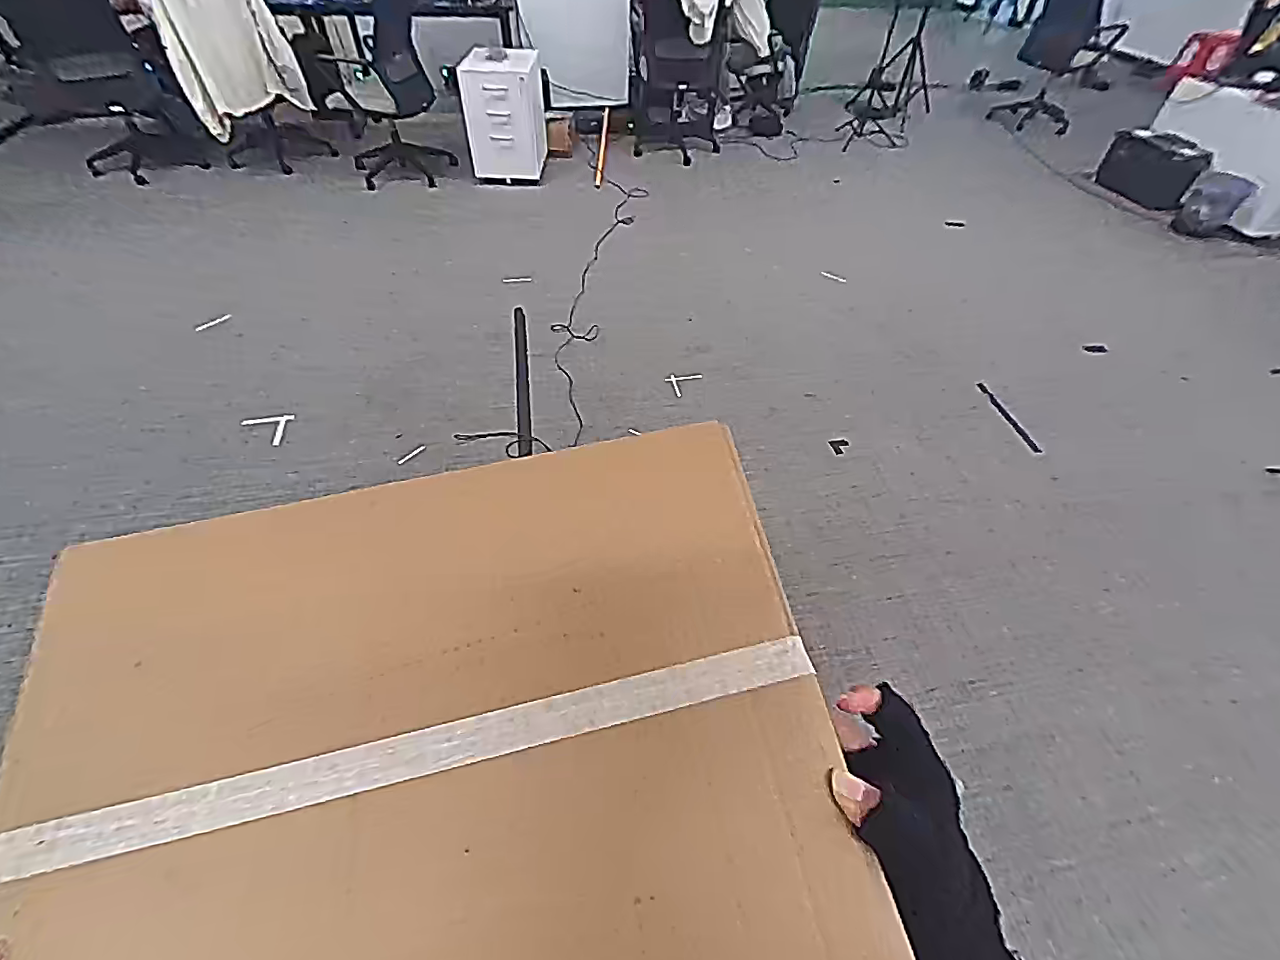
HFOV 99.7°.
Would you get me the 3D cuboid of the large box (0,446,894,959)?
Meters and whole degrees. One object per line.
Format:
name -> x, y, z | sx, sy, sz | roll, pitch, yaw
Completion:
large box -> -0.103, 0.213, 0.417 | 0.408, 0.320, 0.320 | -11, 63, -5
